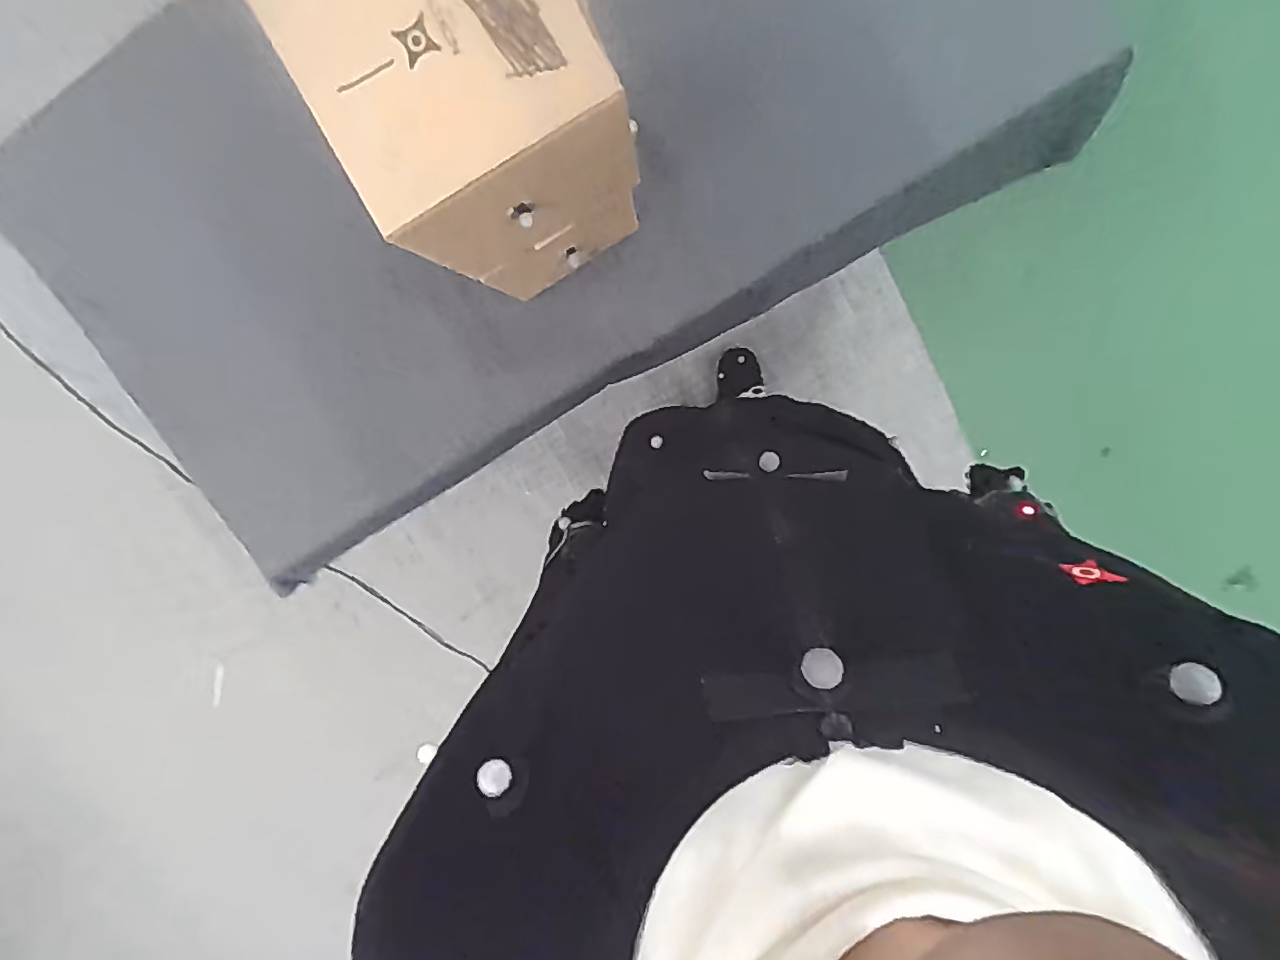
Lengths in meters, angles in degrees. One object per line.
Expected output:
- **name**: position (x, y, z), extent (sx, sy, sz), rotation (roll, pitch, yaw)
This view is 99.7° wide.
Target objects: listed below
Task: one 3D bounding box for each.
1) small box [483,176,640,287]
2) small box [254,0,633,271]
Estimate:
- **small box**: position (-0.112, -0.319, 0.561), extent (0.168, 0.176, 0.179), rotation (-30, 99, 10)
- **small box**: position (-0.115, -0.280, 0.400), extent (0.179, 0.176, 0.168), rotation (-27, 98, 11)
